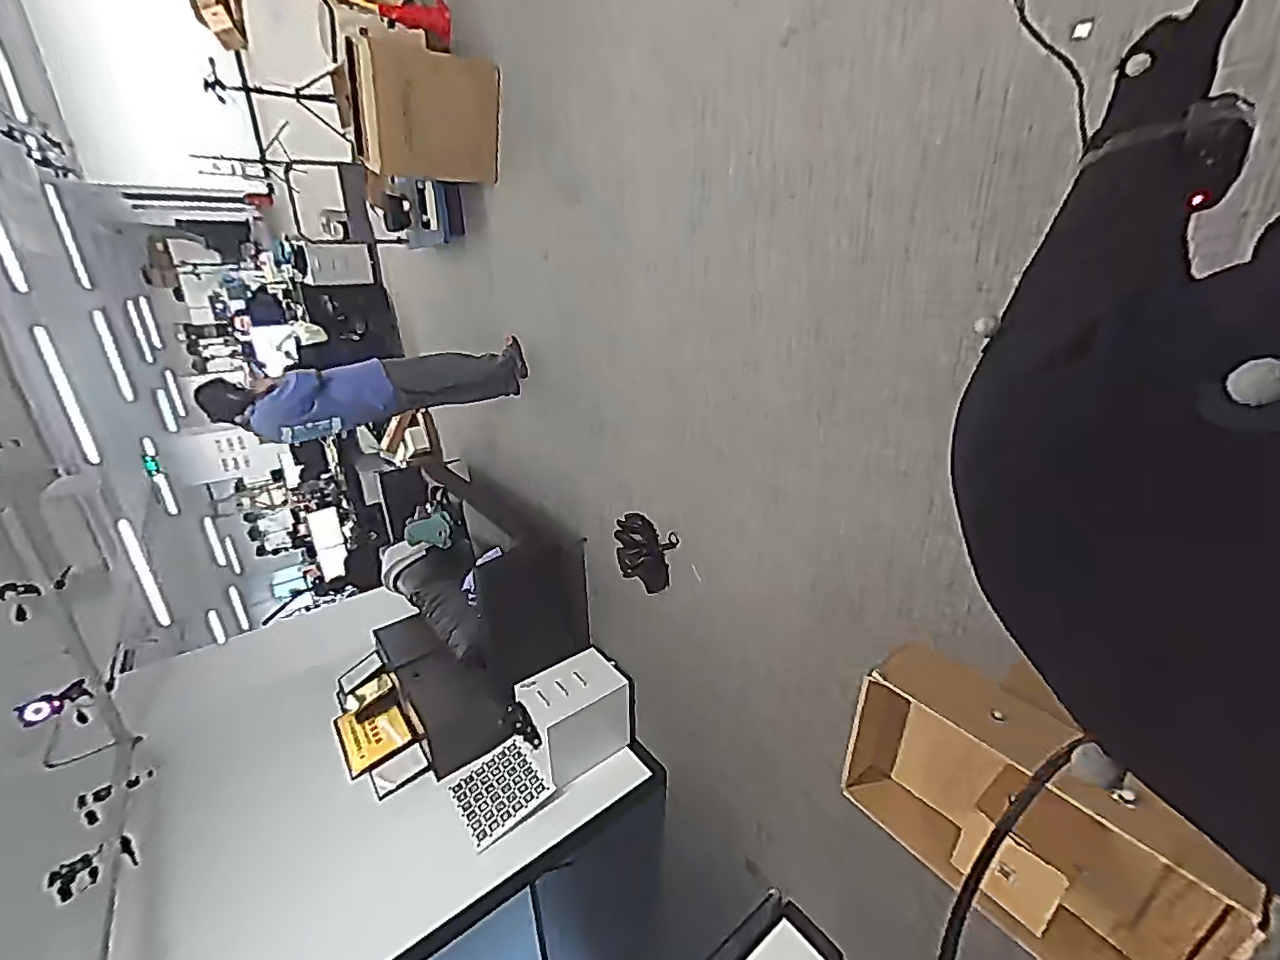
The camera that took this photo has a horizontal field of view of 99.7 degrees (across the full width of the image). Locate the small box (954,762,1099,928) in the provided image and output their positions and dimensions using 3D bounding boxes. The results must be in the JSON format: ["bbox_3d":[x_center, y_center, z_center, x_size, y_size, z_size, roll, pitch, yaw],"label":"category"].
[{"bbox_3d":[0.756,0.701,1.059,0.168,0.176,0.179,30,130,48],"label":"small box"}]
